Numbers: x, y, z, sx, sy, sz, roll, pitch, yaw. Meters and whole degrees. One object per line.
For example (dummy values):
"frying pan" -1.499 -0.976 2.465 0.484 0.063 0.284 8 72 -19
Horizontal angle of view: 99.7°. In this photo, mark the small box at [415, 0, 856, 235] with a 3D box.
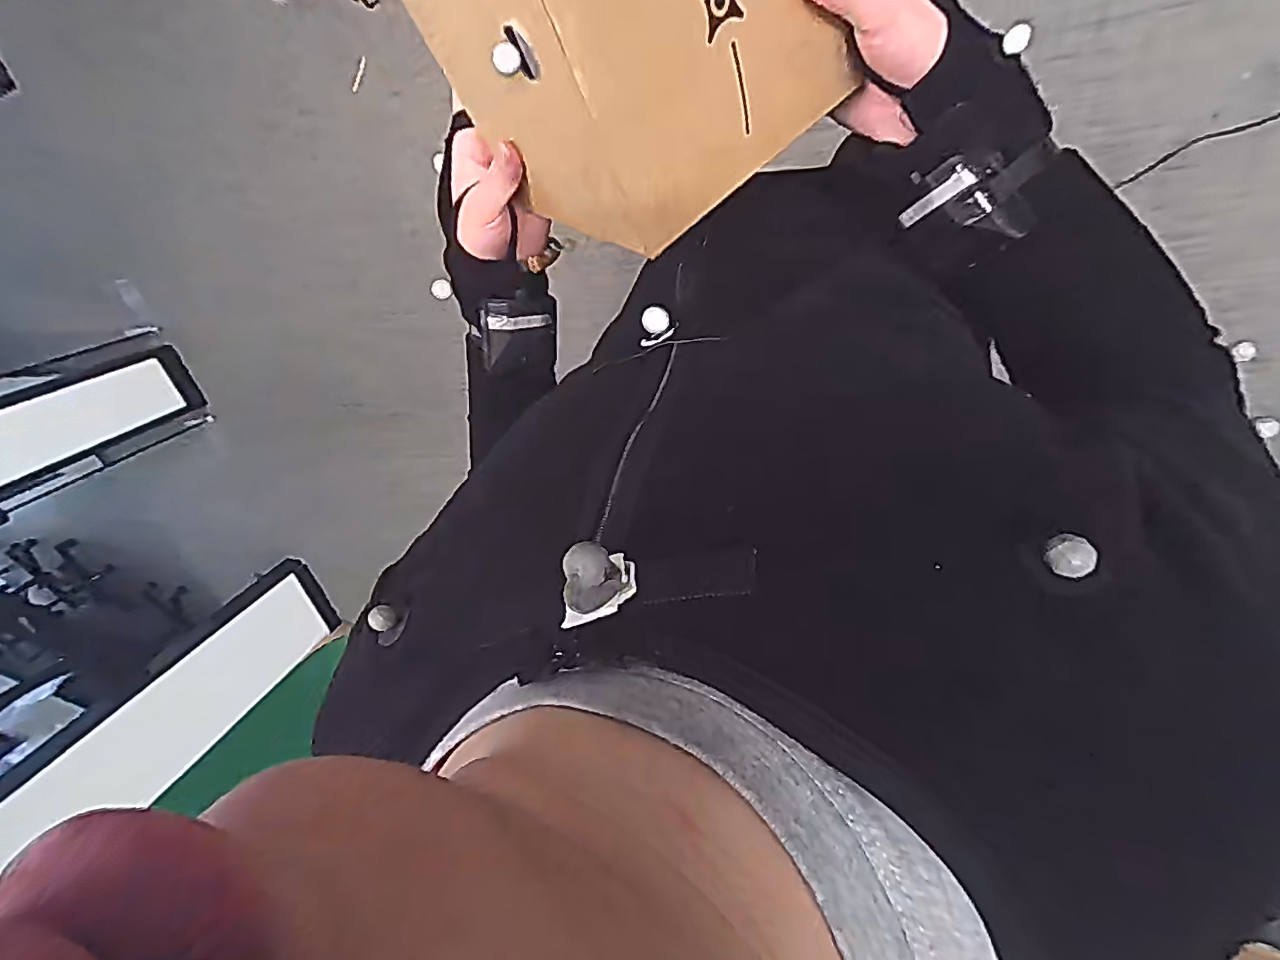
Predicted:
"small box" -0.013 -0.269 0.291 0.176 0.168 0.179 43 170 42
